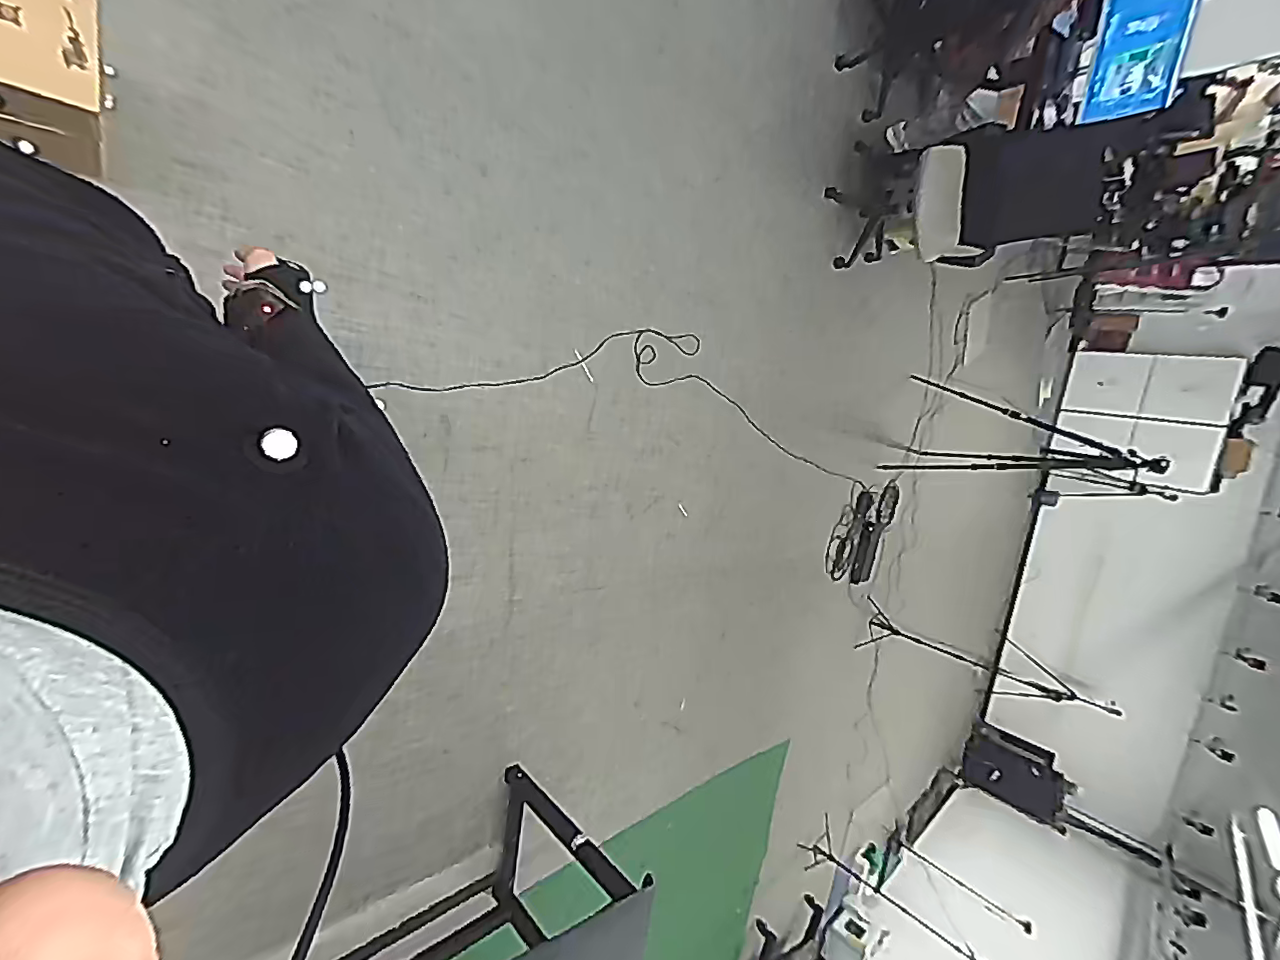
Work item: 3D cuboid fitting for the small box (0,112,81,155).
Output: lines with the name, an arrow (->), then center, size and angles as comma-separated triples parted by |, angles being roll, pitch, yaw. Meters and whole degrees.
small box -> -0.955, -0.617, 0.803 | 0.168, 0.176, 0.179 | -4, 106, -44

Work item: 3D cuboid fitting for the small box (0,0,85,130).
small box -> -0.841, -0.582, 0.691 | 0.179, 0.176, 0.168 | -1, 103, -44

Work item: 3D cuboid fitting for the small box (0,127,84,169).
small box -> -1.067, -0.659, 0.916 | 0.168, 0.176, 0.179 | -4, 106, -44
